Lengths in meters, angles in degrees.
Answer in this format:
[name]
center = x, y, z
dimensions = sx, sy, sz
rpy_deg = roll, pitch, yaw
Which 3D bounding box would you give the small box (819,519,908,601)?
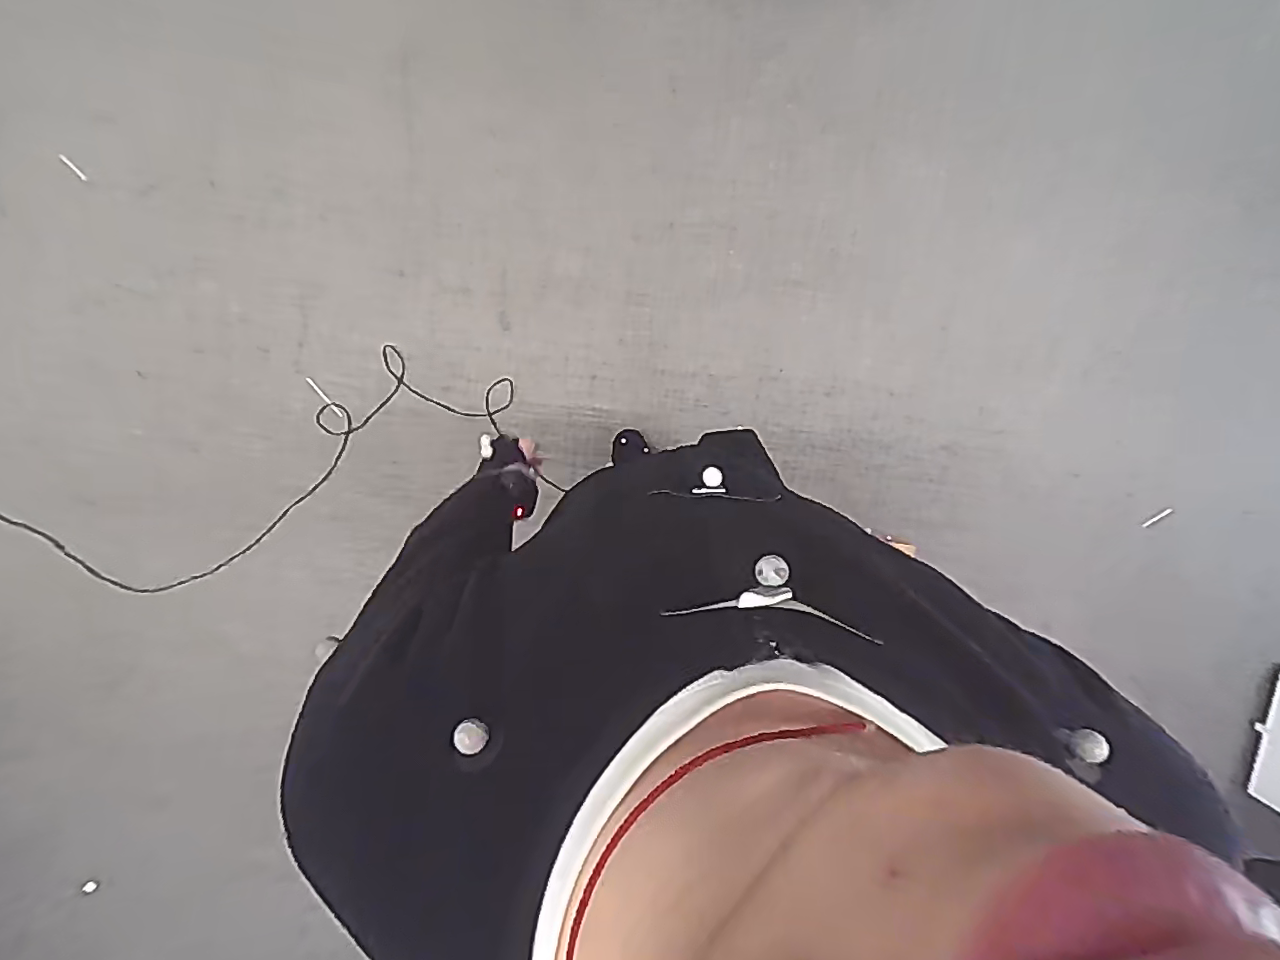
[small box]
center = 0.618, 0.219, 1.517
dimensions = 0.168, 0.176, 0.179
rpy_deg = 7, 97, -2
